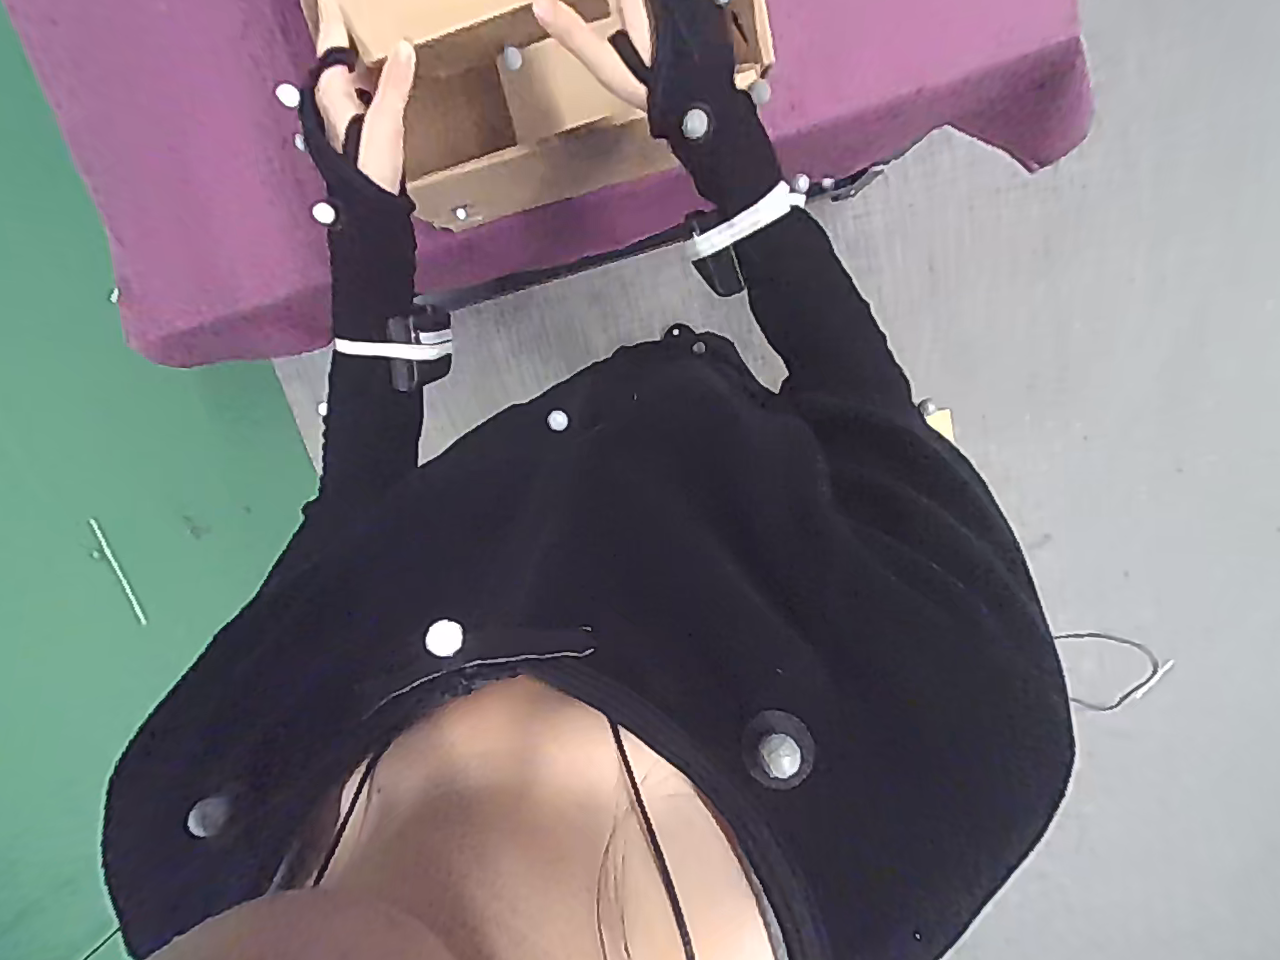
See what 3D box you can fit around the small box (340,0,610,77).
[{"bbox_3d":[-0.123,-0.405,0.370,0.168,0.176,0.179,-12,125,9],"label":"small box"}]
